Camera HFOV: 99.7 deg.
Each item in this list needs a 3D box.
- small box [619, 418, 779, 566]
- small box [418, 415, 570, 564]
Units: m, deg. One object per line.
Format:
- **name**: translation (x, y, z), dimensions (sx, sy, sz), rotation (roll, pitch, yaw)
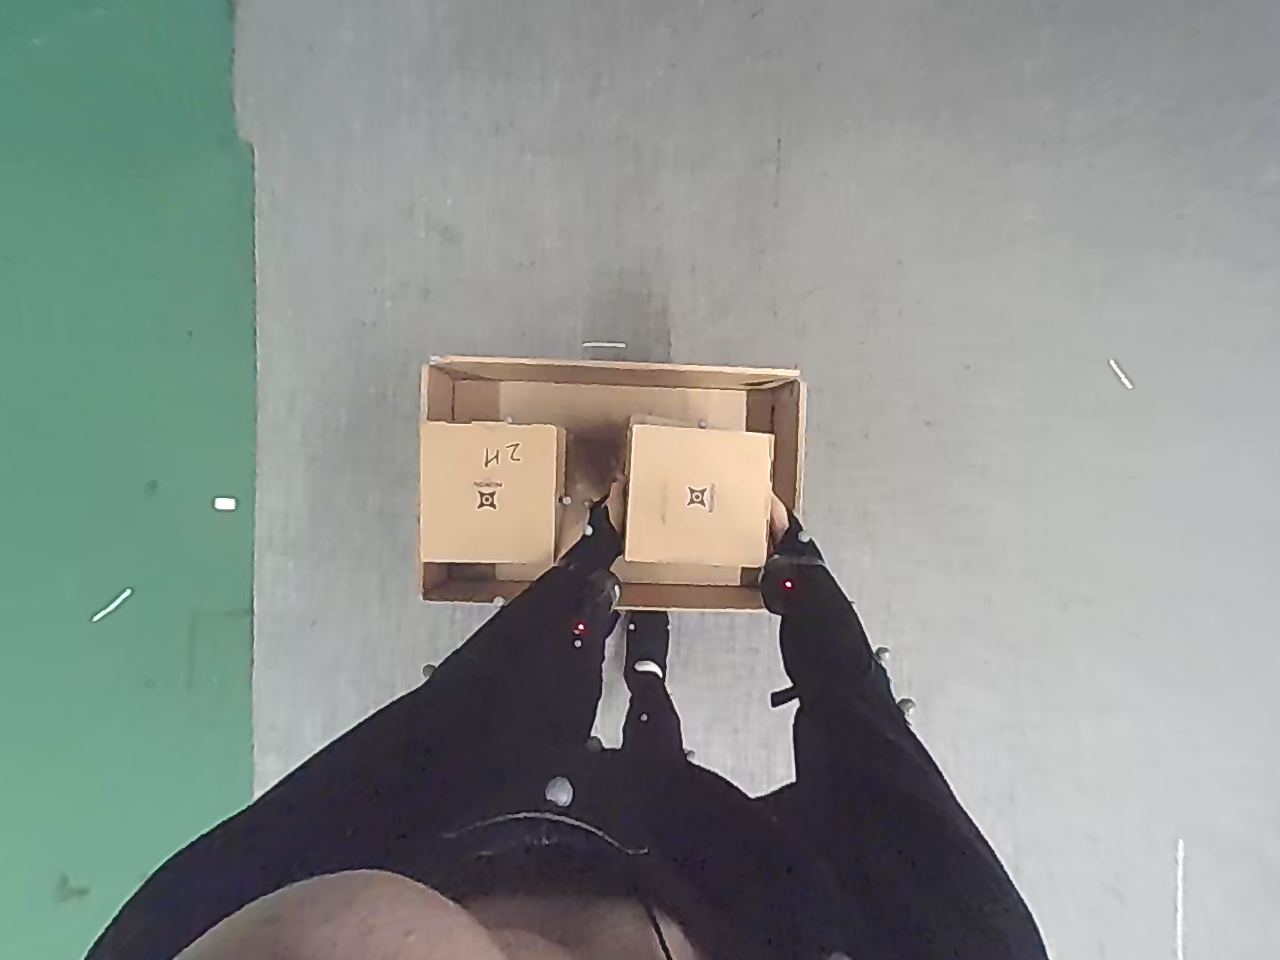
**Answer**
- **small box**: translation (0.068, 0.013, 0.716), dimensions (0.179, 0.176, 0.168), rotation (4, 90, -3)
- **small box**: translation (-0.185, 0.009, 0.731), dimensions (0.168, 0.176, 0.179), rotation (2, 92, -3)
